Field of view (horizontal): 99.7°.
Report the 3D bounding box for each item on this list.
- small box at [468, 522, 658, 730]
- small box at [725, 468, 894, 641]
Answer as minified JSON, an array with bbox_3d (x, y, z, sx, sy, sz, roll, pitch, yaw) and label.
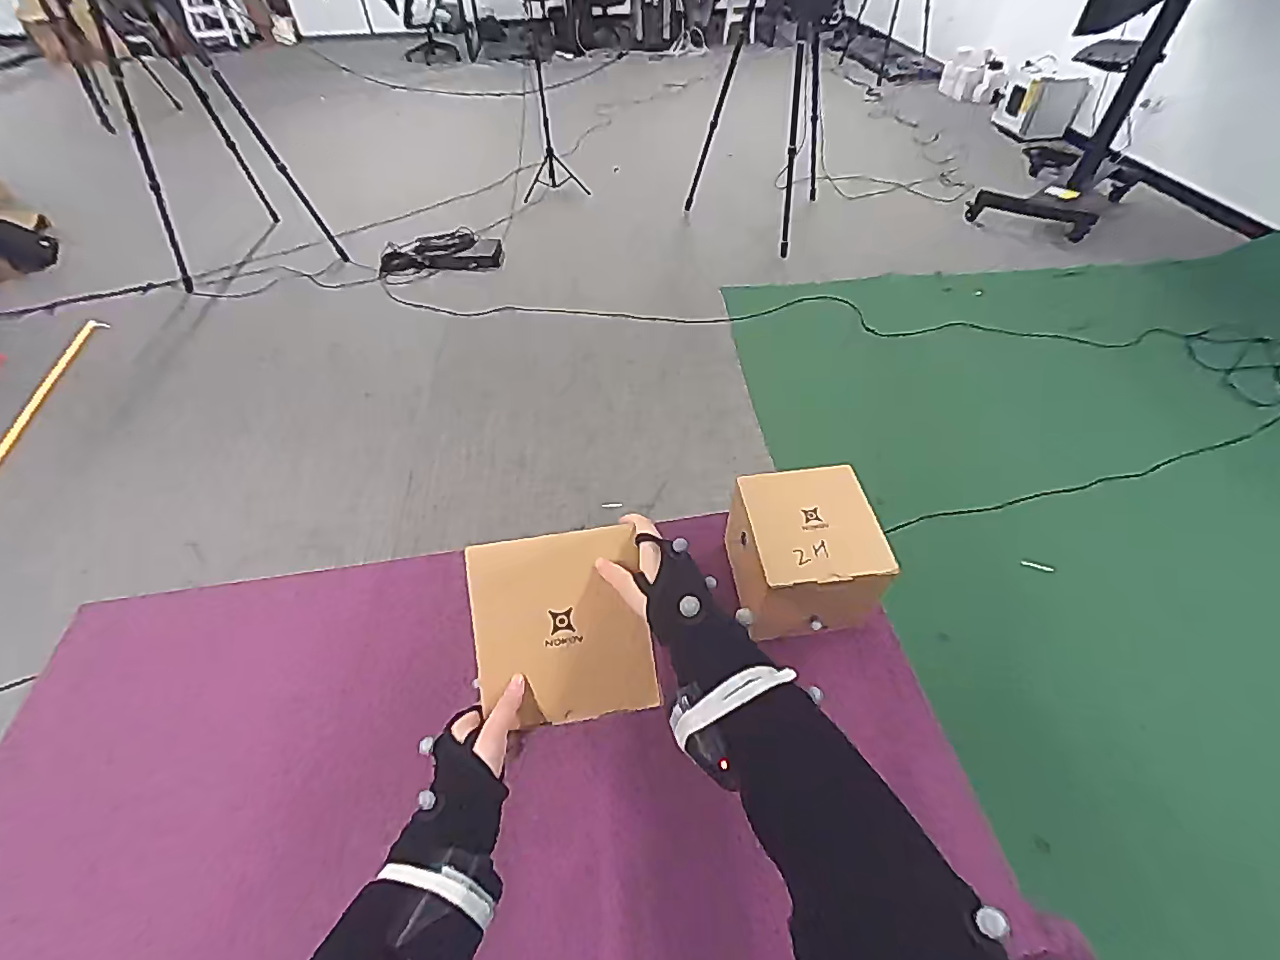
[{"bbox_3d":[-0.079,0.145,0.593,0.168,0.176,0.179,-8,85,-3],"label":"small box"},{"bbox_3d":[0.222,0.107,0.768,0.168,0.176,0.179,-6,52,-2],"label":"small box"}]
